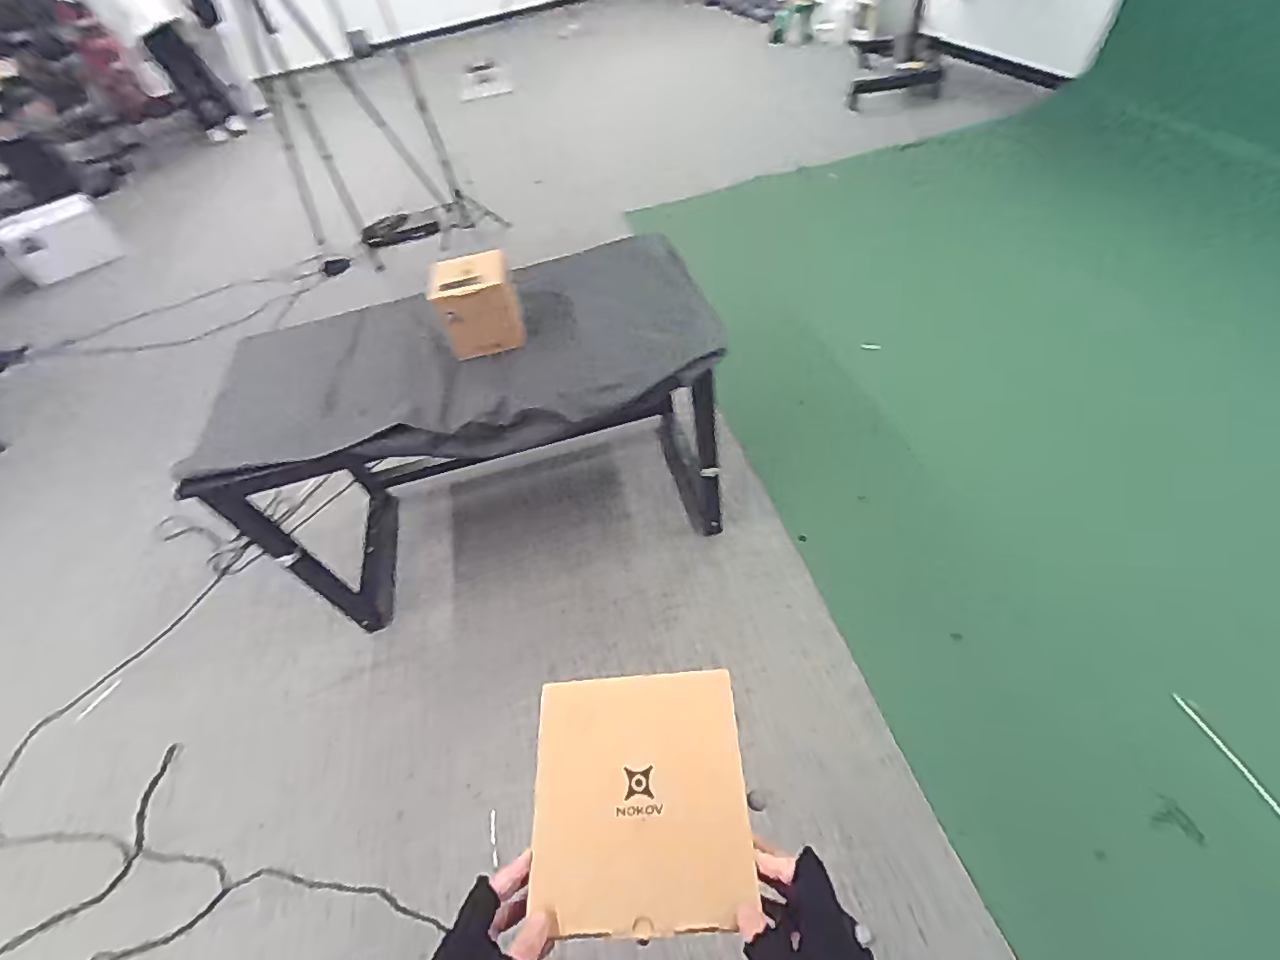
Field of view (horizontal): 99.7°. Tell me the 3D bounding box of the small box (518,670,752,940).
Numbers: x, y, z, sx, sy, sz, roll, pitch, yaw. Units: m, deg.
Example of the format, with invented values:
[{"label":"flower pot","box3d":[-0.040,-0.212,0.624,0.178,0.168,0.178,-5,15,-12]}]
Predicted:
[{"label":"small box","box3d":[0.000,0.288,0.484,0.168,0.176,0.179,-7,54,3]}]
